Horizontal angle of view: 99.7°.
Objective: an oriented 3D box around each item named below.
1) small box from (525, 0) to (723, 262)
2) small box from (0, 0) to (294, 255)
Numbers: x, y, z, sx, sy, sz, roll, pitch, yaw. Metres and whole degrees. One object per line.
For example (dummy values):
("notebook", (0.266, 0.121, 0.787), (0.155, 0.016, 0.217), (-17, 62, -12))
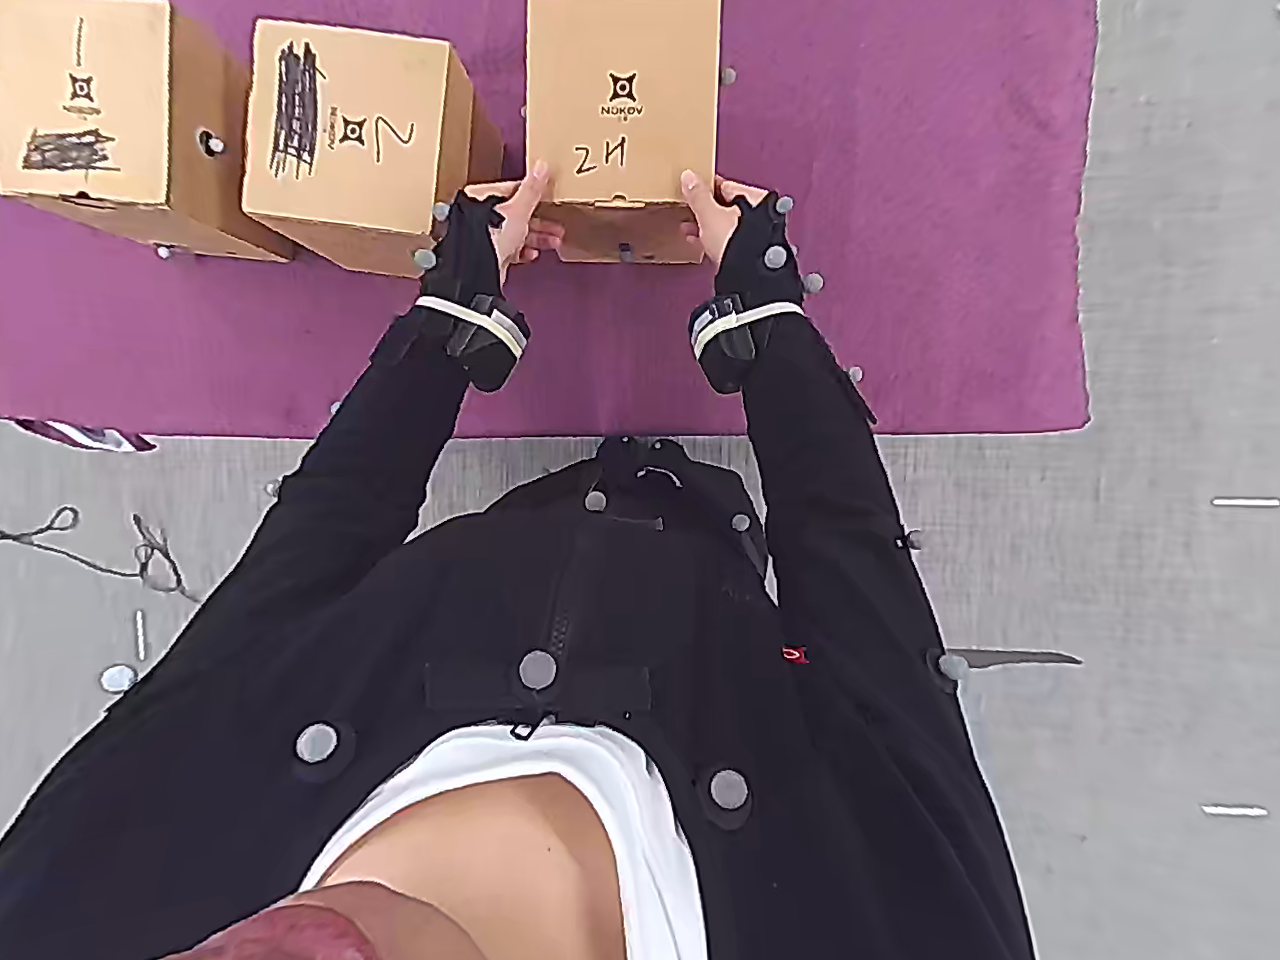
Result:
("small box", (-0.013, -0.336, 0.541), (0.168, 0.176, 0.179), (2, 95, 2))
("small box", (-0.491, -0.349, 0.559), (0.168, 0.176, 0.179), (6, 95, 1))
